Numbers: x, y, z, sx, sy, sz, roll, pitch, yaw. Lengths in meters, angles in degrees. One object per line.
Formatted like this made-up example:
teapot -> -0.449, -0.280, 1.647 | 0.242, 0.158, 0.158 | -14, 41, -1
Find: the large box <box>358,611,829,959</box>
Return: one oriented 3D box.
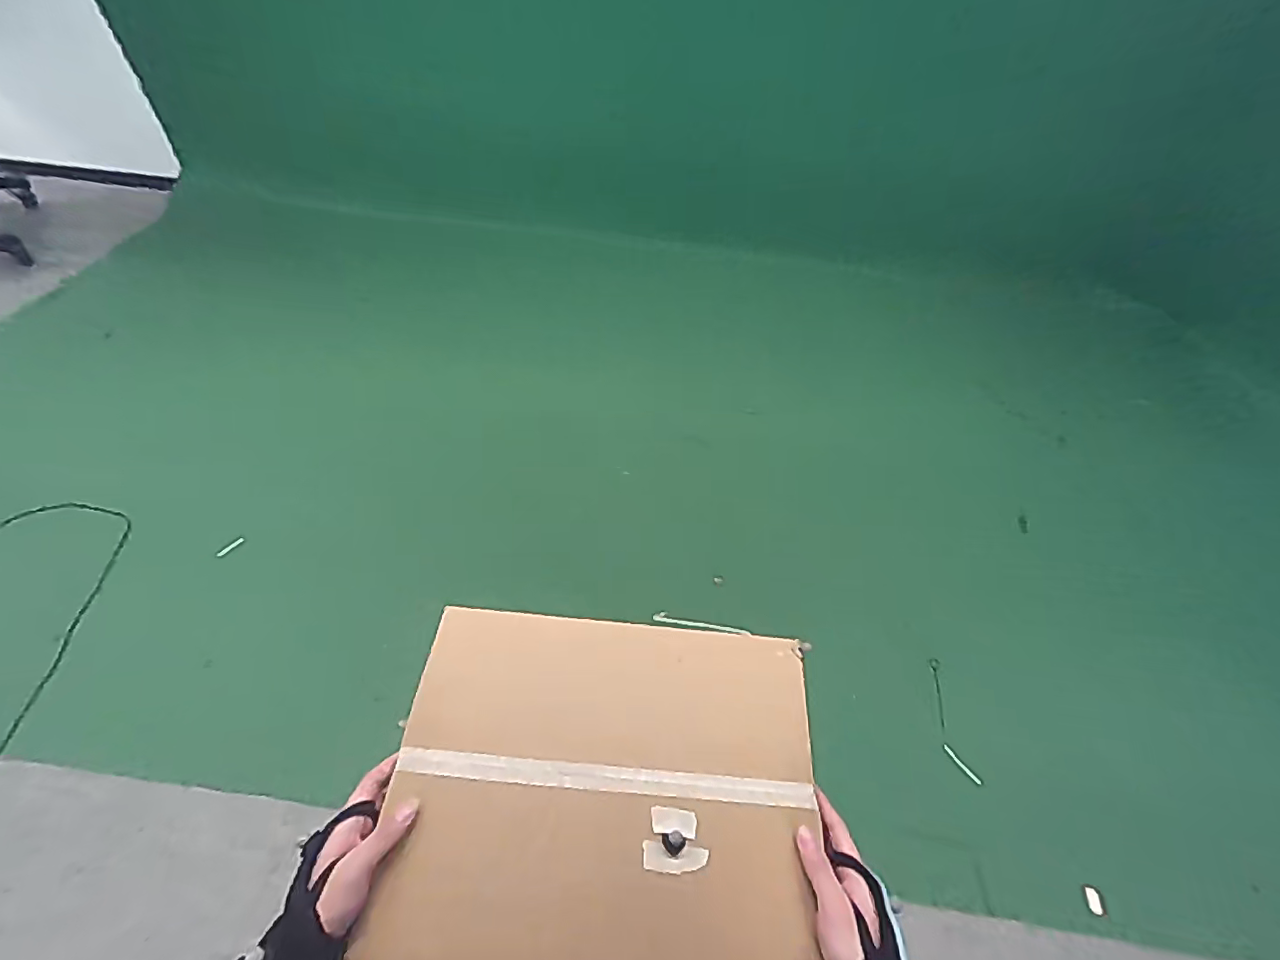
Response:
large box -> -0.039, 0.380, 0.654 | 0.408, 0.320, 0.320 | 6, 53, 0
